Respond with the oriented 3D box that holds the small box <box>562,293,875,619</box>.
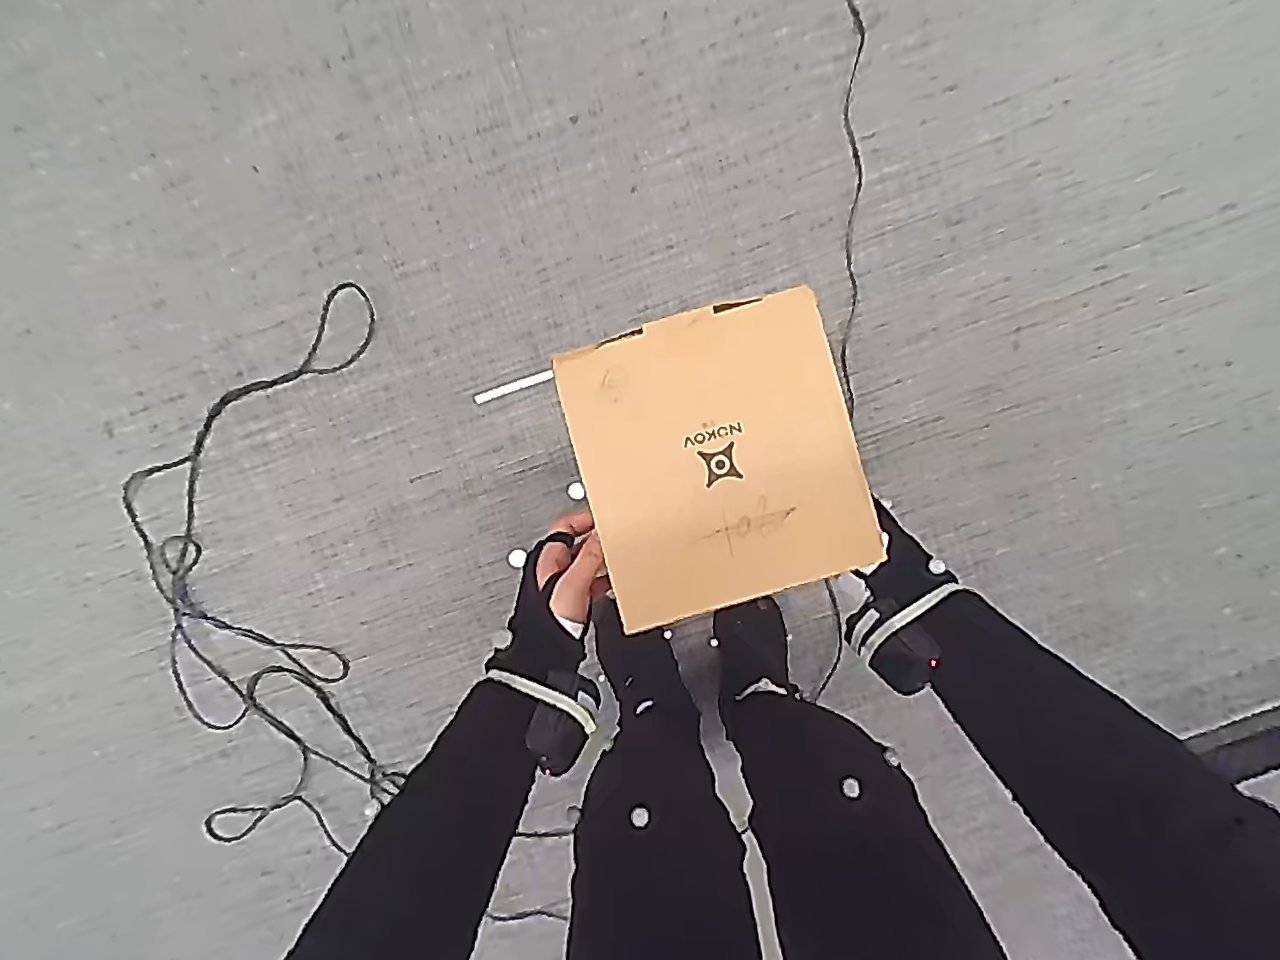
[{"bbox_3d":[0.048,-0.016,0.420,0.168,0.176,0.179,-16,91,0],"label":"small box"}]
